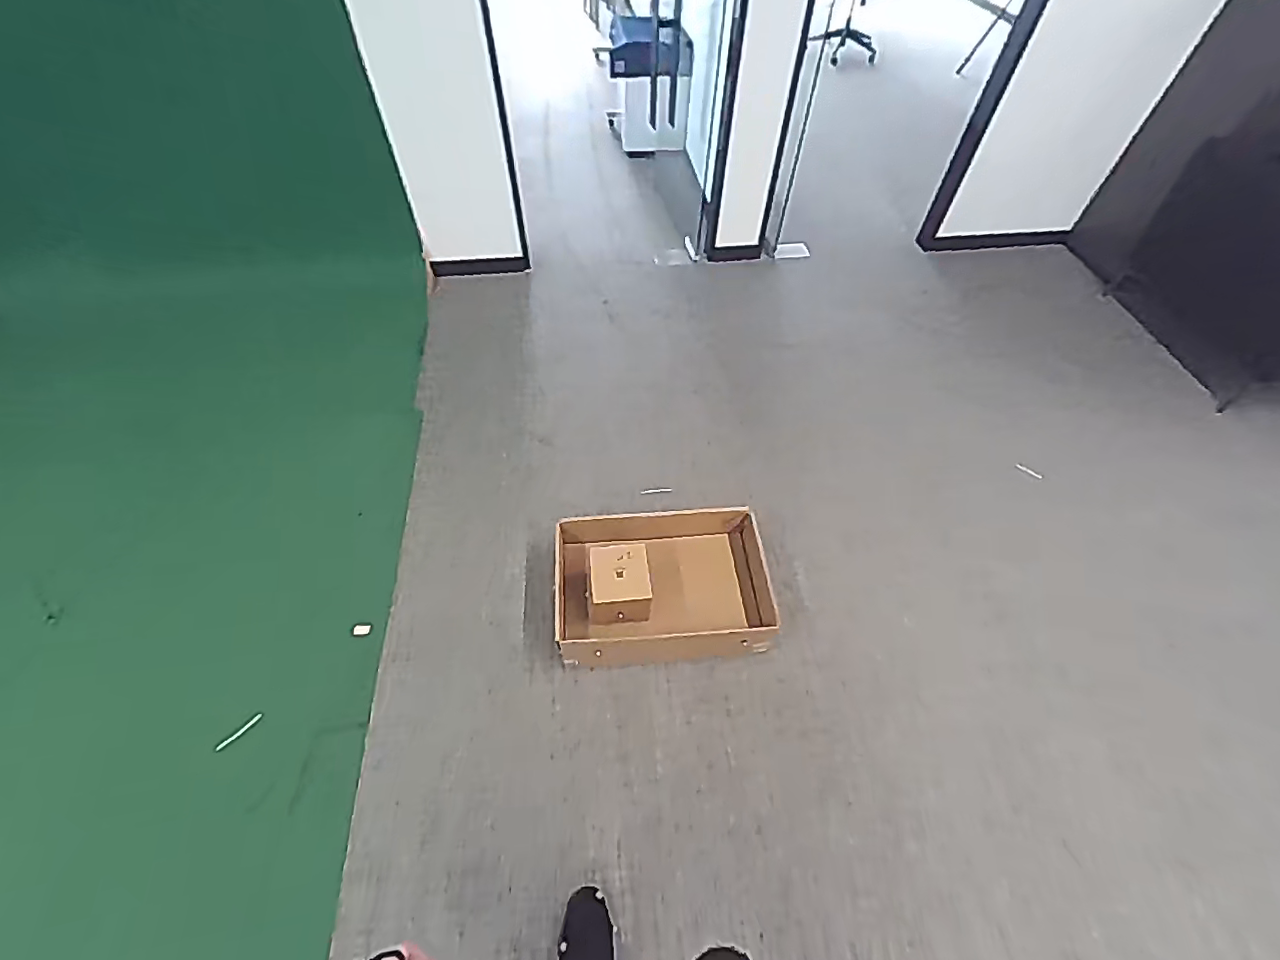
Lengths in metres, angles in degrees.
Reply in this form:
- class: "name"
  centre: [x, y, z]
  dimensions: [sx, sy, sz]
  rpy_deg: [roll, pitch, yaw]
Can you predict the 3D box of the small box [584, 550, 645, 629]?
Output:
- class: "small box"
  centre: [-0.076, 0.324, 1.579]
  dimensions: [0.168, 0.176, 0.179]
  rpy_deg: [-3, 53, -6]
